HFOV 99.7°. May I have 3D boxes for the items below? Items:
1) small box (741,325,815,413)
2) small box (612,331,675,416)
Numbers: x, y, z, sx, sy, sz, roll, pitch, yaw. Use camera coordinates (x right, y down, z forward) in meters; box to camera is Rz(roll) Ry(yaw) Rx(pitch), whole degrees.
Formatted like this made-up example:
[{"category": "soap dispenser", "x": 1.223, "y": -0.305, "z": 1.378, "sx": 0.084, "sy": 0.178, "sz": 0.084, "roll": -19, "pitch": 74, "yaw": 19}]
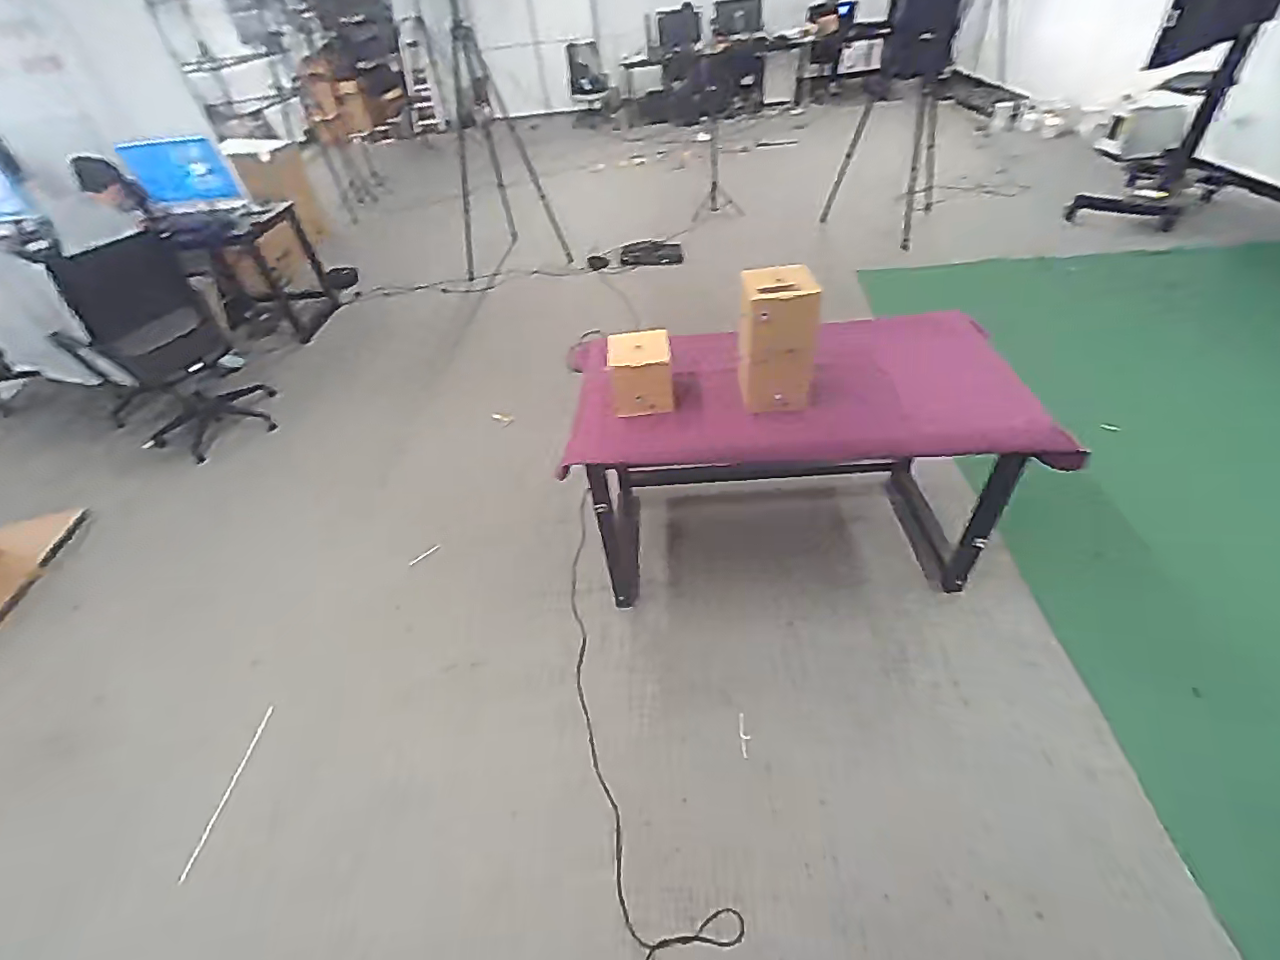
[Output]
[{"category": "small box", "x": 0.371, "y": -0.304, "z": 1.482, "sx": 0.168, "sy": 0.176, "sz": 0.179, "roll": -4, "pitch": 43, "yaw": 5}, {"category": "small box", "x": 0.011, "y": -0.302, "z": 1.536, "sx": 0.168, "sy": 0.176, "sz": 0.179, "roll": -6, "pitch": 44, "yaw": 2}]
